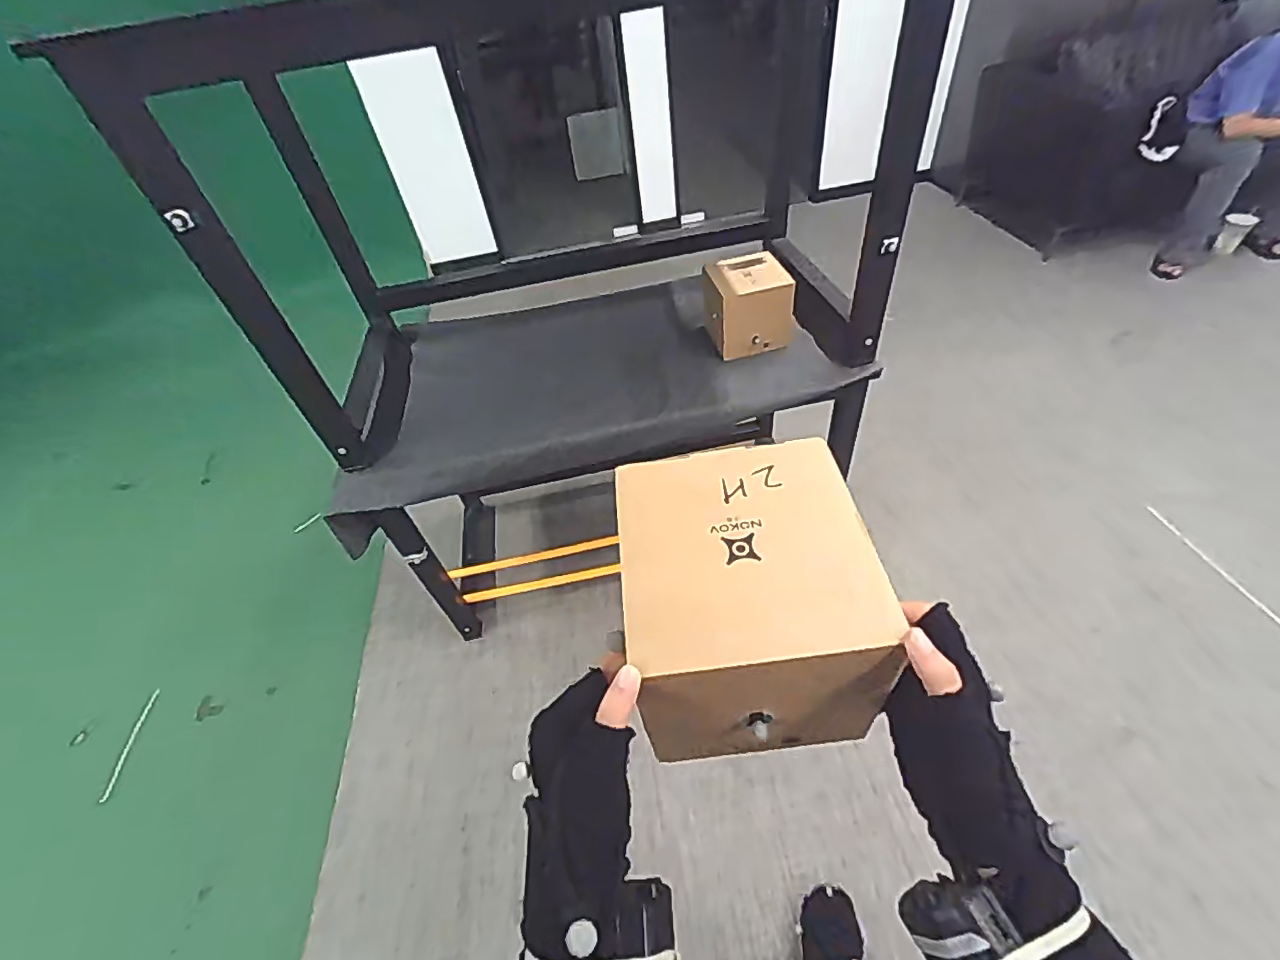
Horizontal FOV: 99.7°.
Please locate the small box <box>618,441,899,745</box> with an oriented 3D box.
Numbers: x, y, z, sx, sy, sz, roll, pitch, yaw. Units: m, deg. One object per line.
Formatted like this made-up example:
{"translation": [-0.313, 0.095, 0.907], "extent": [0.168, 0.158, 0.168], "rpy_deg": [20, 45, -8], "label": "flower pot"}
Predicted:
{"translation": [0.078, 0.097, 0.435], "extent": [0.168, 0.176, 0.179], "rpy_deg": [-8, 46, 2], "label": "small box"}
